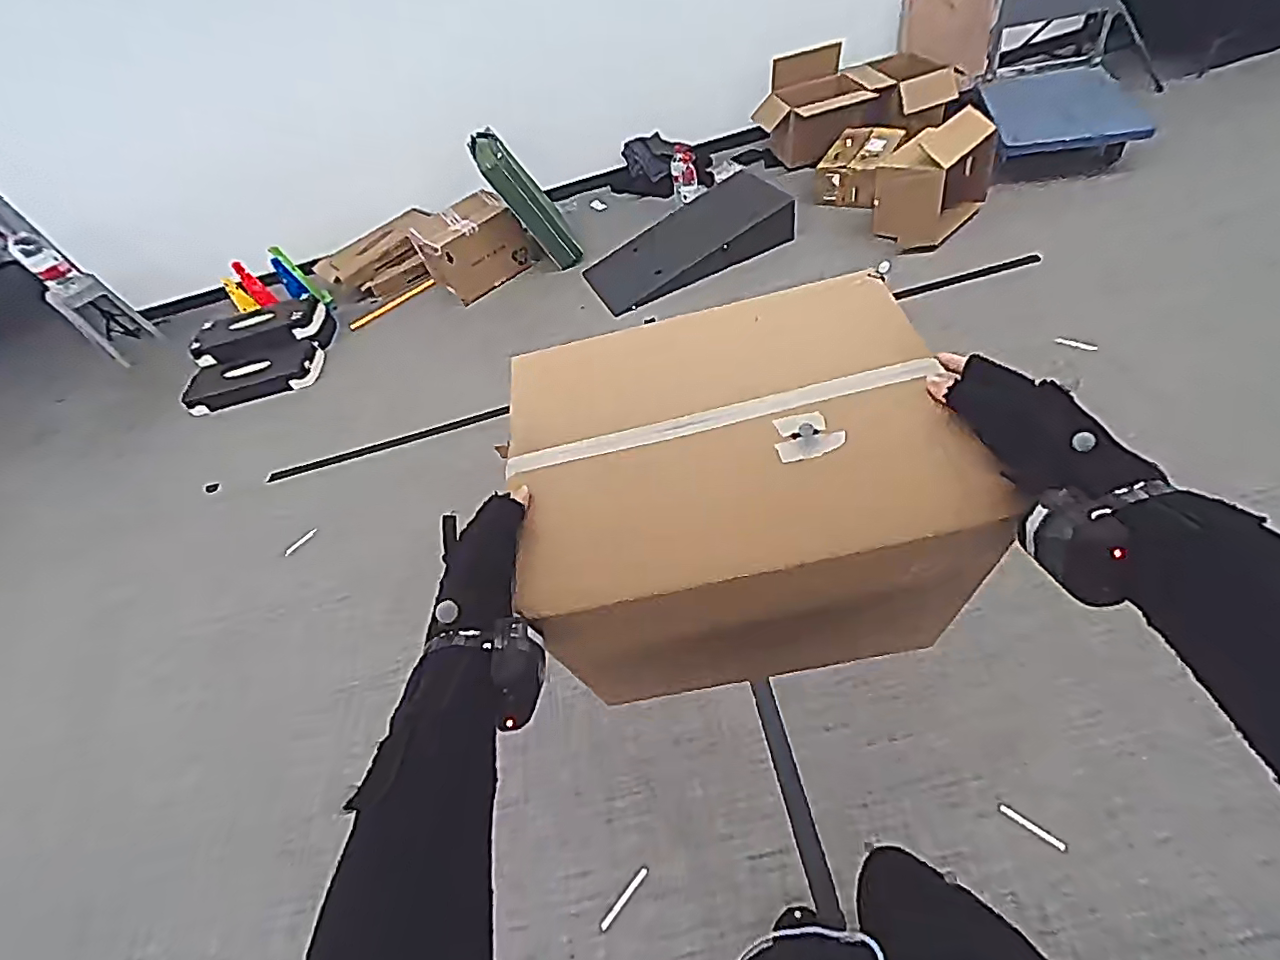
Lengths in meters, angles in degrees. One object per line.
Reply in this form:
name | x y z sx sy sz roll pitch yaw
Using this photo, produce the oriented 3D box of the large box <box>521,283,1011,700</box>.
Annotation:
large box | 0.103 0.031 0.639 0.408 0.320 0.320 -13 55 4
